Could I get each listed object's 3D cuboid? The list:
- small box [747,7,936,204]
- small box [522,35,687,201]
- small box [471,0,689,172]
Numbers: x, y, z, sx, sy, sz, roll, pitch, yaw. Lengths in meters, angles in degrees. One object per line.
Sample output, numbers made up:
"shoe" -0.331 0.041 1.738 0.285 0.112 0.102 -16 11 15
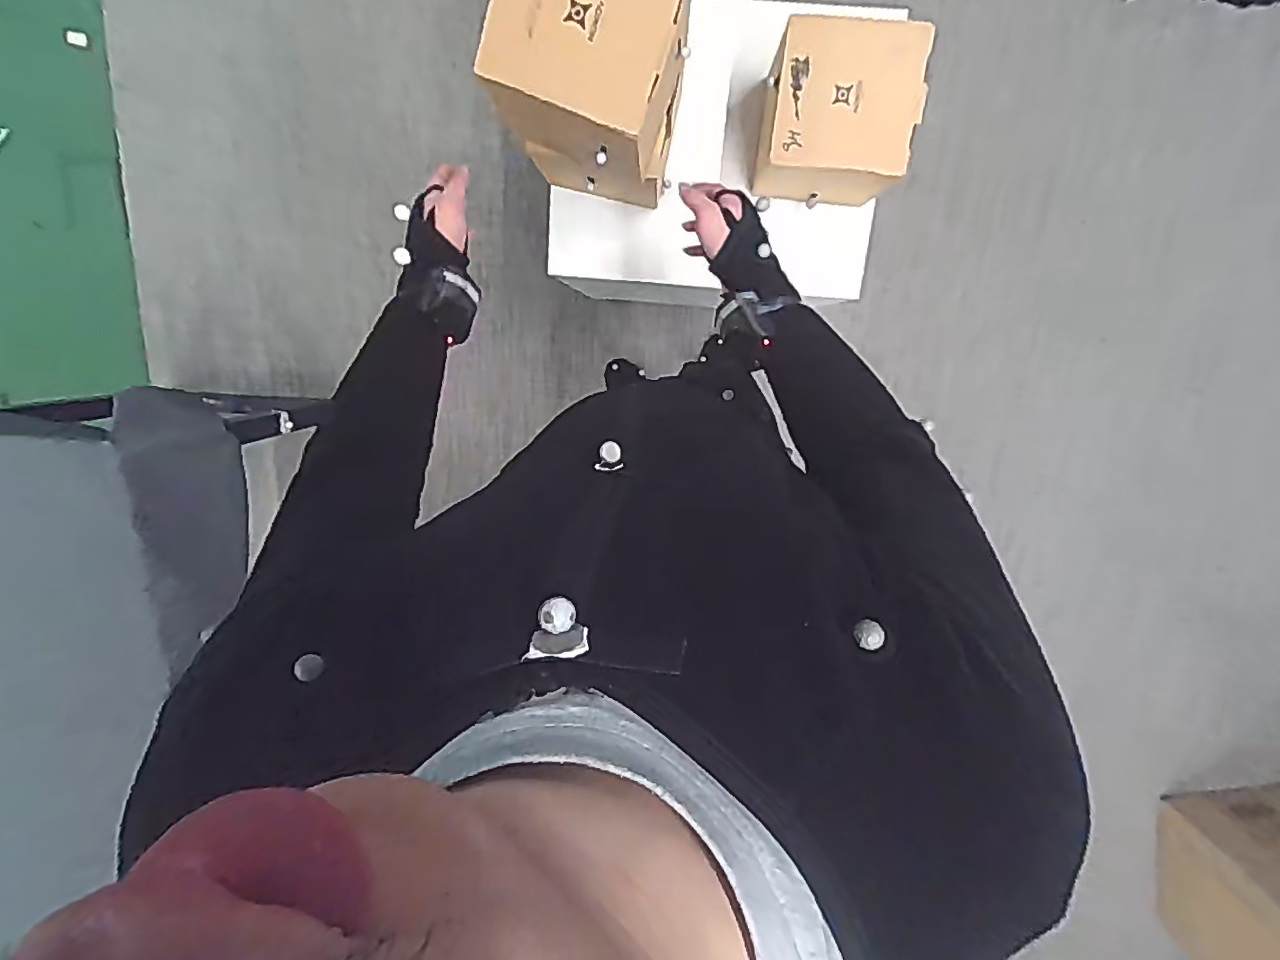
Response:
"small box" 0.256 -0.487 0.732 0.179 0.176 0.168 6 105 -1
"small box" -0.045 -0.498 0.734 0.179 0.176 0.168 13 104 -2
"small box" -0.051 -0.459 0.577 0.179 0.176 0.168 19 102 -3
